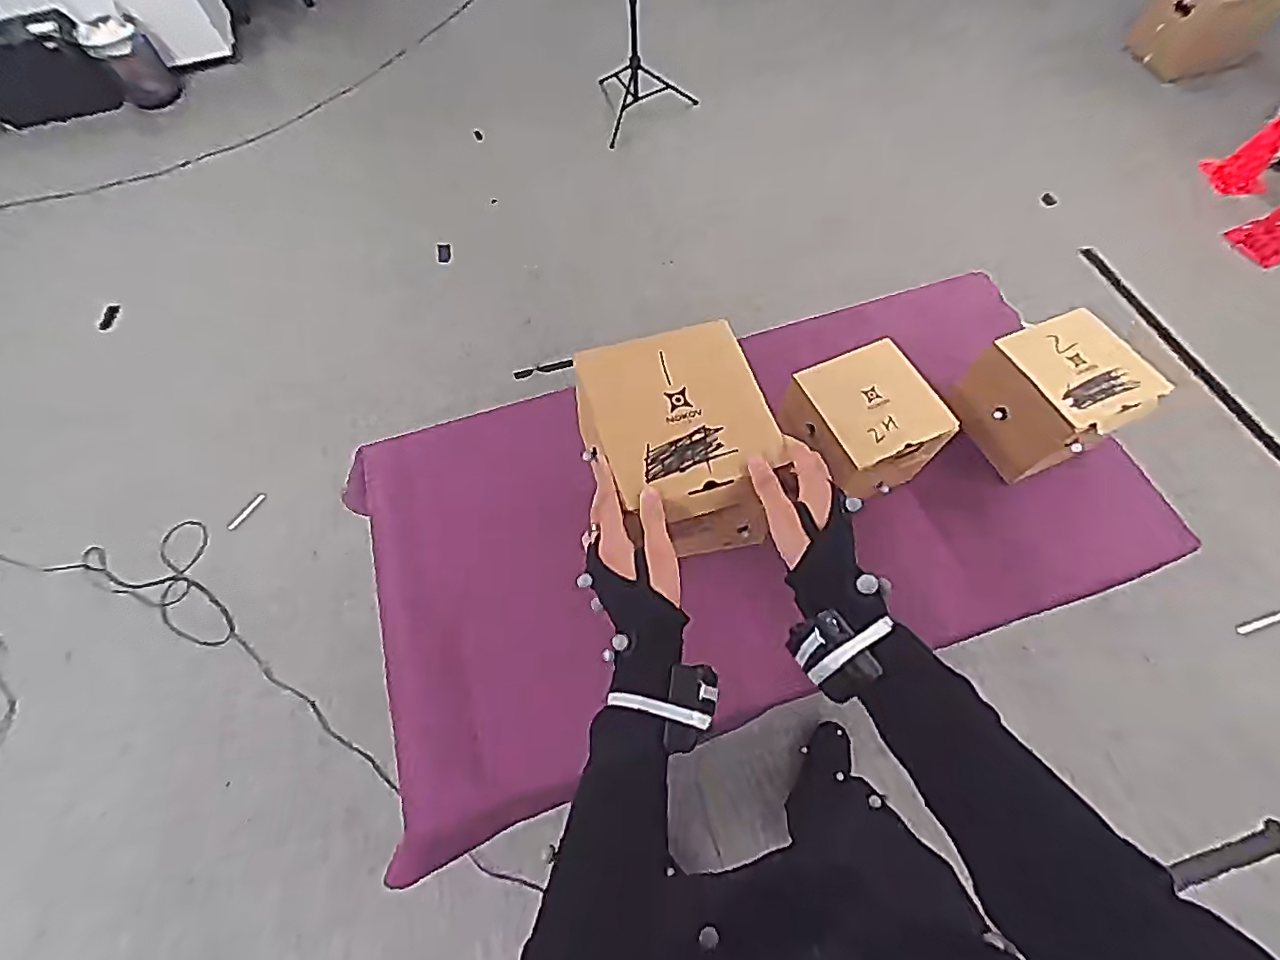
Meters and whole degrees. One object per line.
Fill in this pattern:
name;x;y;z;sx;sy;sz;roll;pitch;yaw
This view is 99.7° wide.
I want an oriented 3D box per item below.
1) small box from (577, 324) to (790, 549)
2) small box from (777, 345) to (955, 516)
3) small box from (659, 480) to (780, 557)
small box;0.037;-0.035;0.595;0.168;0.176;0.179;-16;68;-9
small box;0.332;-0.072;0.841;0.168;0.176;0.179;-22;66;-7
small box;0.097;0.008;0.816;0.168;0.176;0.179;-9;64;-2
